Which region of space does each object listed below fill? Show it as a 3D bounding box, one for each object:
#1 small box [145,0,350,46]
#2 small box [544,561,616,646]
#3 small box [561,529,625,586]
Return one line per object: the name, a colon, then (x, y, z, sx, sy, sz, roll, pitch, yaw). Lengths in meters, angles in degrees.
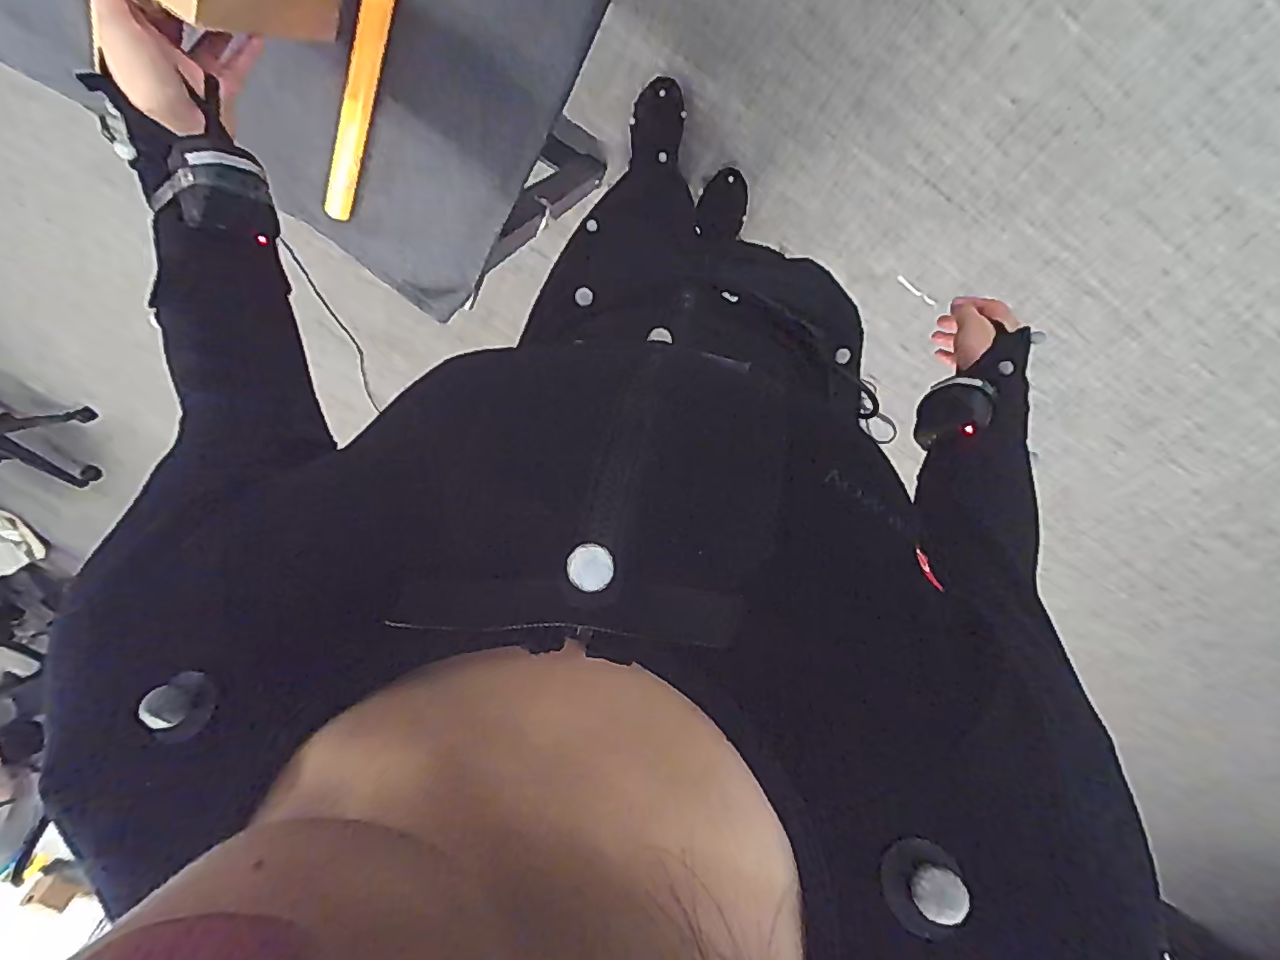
small box: (-0.331, -0.470, 0.407, 0.168, 0.176, 0.179, 31, 125, -12)
small box: (-0.186, 0.391, 1.729, 0.168, 0.176, 0.179, 26, 127, -9)
small box: (-0.161, 0.300, 1.866, 0.168, 0.176, 0.179, 27, 127, -10)
